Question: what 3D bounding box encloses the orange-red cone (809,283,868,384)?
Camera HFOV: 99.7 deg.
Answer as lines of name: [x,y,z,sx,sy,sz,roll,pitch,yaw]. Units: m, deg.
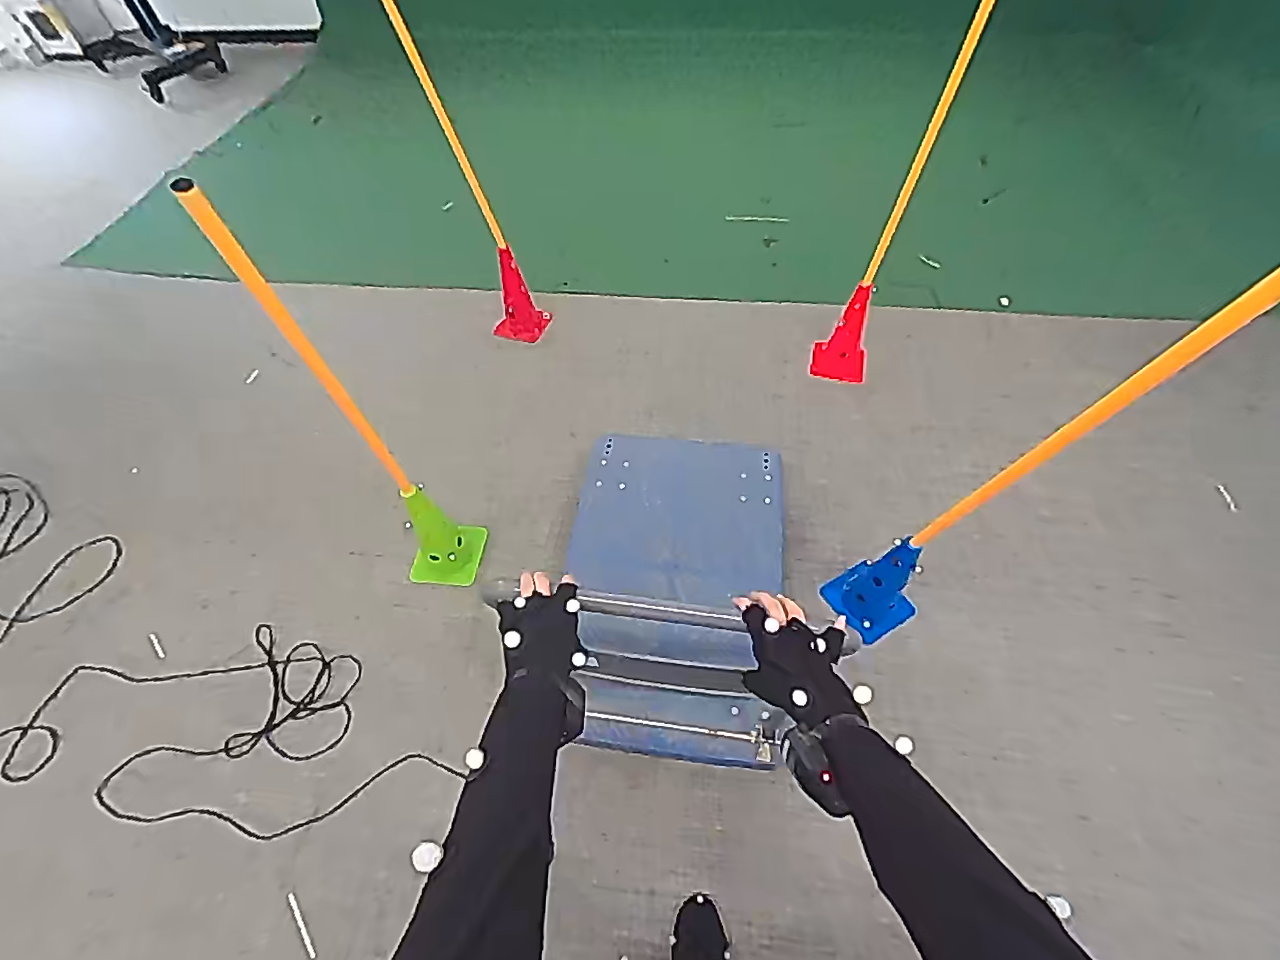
orange-red cone: [0.758,-0.550,1.962,0.198,0.360,0.199,13,57,12]
